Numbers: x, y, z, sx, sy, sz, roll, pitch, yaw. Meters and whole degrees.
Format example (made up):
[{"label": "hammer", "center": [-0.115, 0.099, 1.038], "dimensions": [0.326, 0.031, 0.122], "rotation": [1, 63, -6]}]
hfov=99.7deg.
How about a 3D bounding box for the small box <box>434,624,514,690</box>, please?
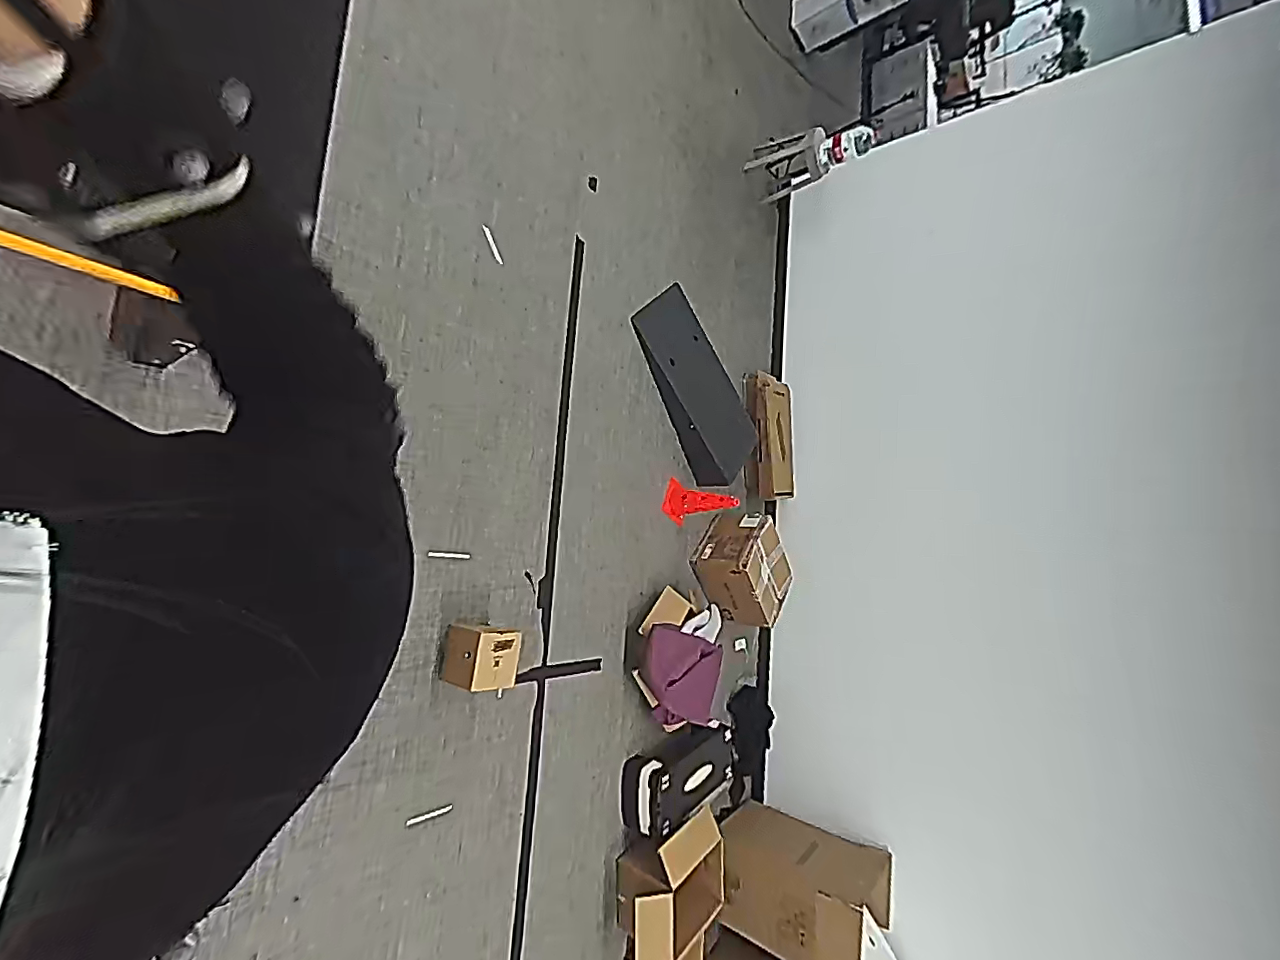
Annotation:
[{"label": "small box", "center": [-0.533, 0.560, 1.728], "dimensions": [0.168, 0.176, 0.179], "rotation": [20, 74, -51]}]
